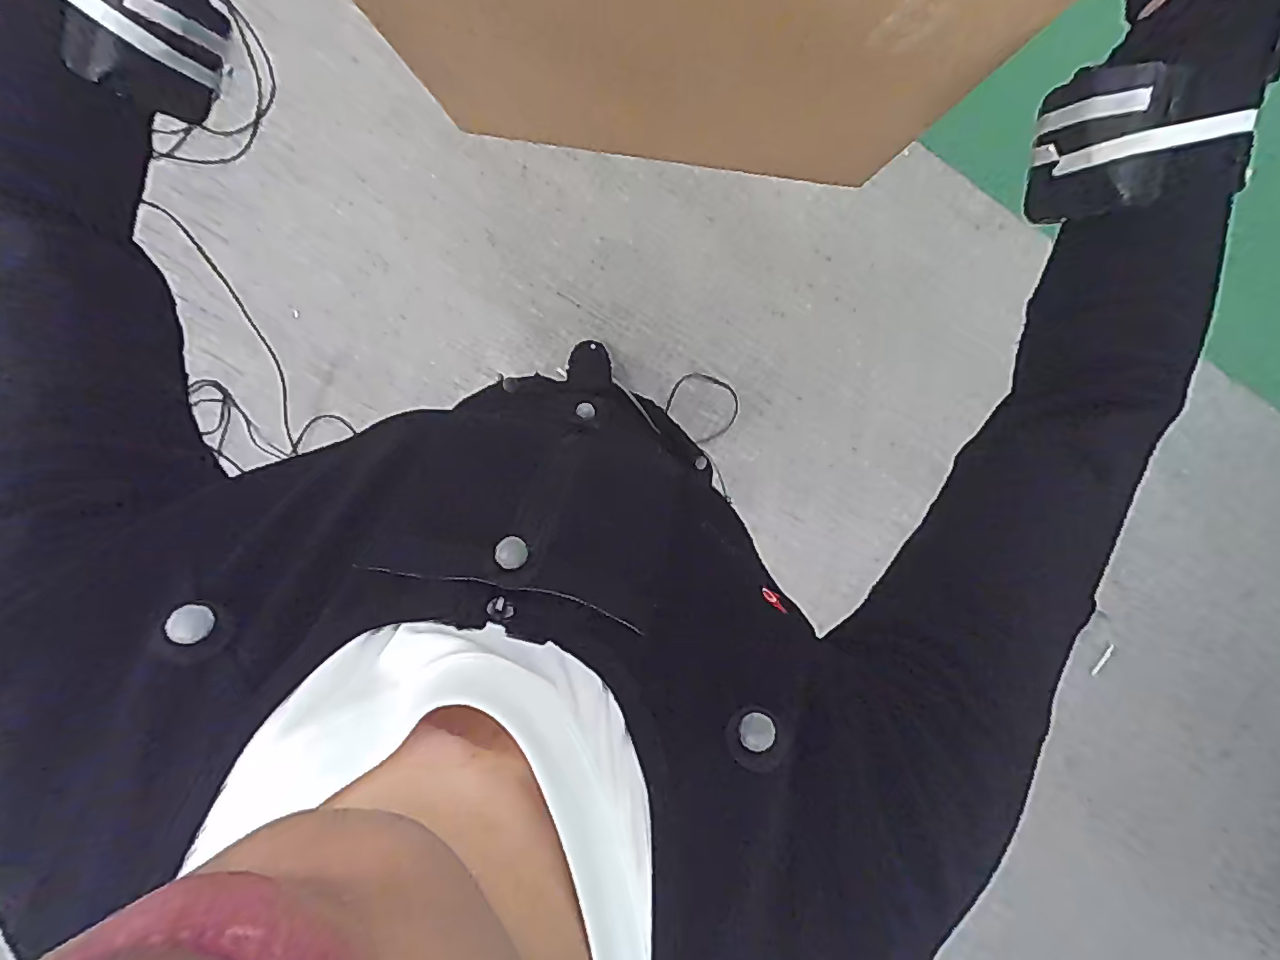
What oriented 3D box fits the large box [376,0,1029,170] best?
[{"bbox_3d":[0.035,-0.446,0.363,0.408,0.320,0.320,7,103,-1],"label":"large box"}]
